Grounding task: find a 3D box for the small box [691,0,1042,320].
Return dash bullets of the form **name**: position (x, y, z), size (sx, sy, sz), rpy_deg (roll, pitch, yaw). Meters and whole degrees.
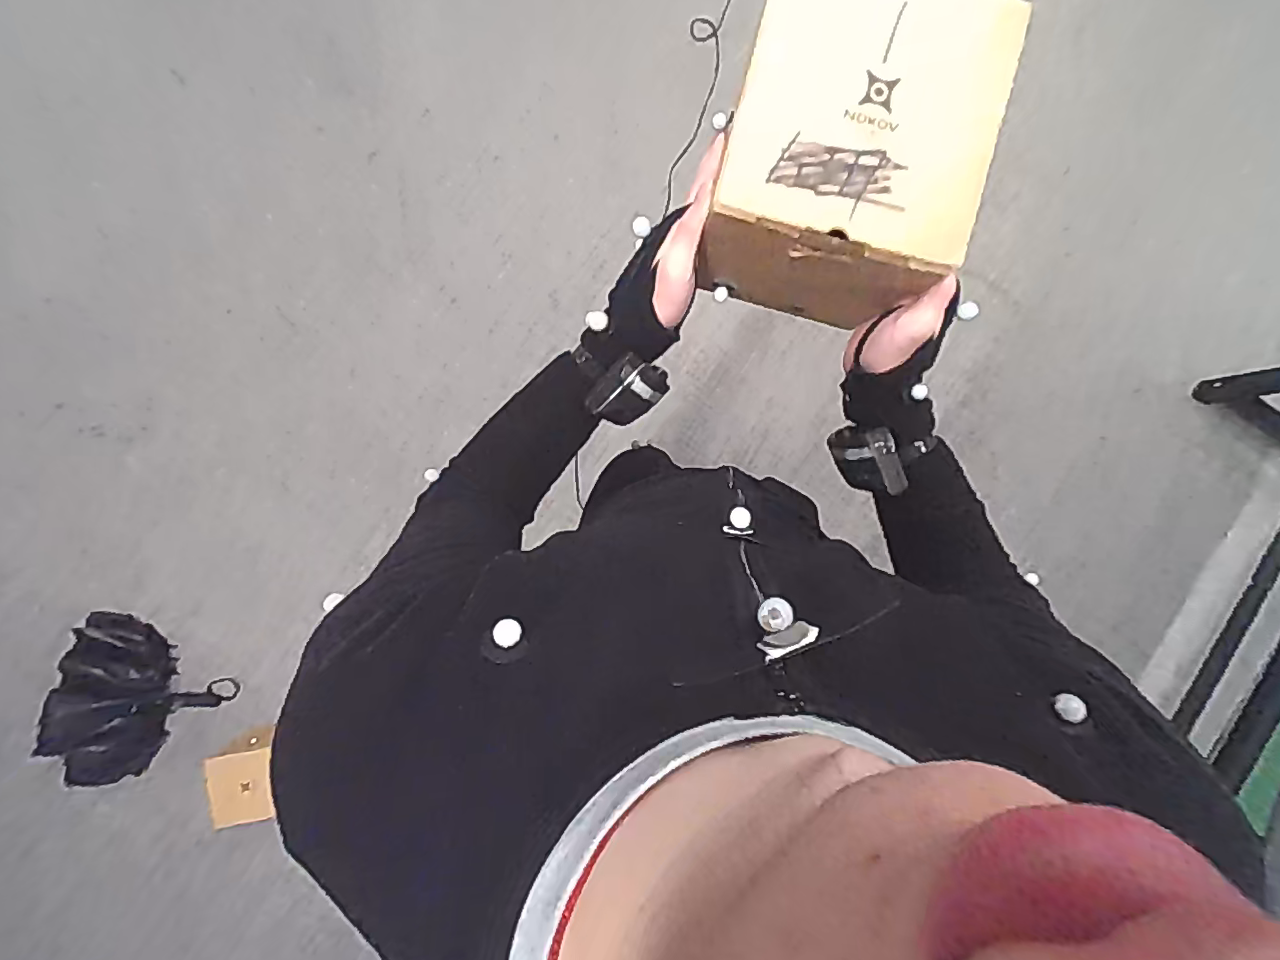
- **small box**: position (0.140, -0.236, 0.408), size (0.168, 0.176, 0.179), rpy_deg (15, 95, -2)
